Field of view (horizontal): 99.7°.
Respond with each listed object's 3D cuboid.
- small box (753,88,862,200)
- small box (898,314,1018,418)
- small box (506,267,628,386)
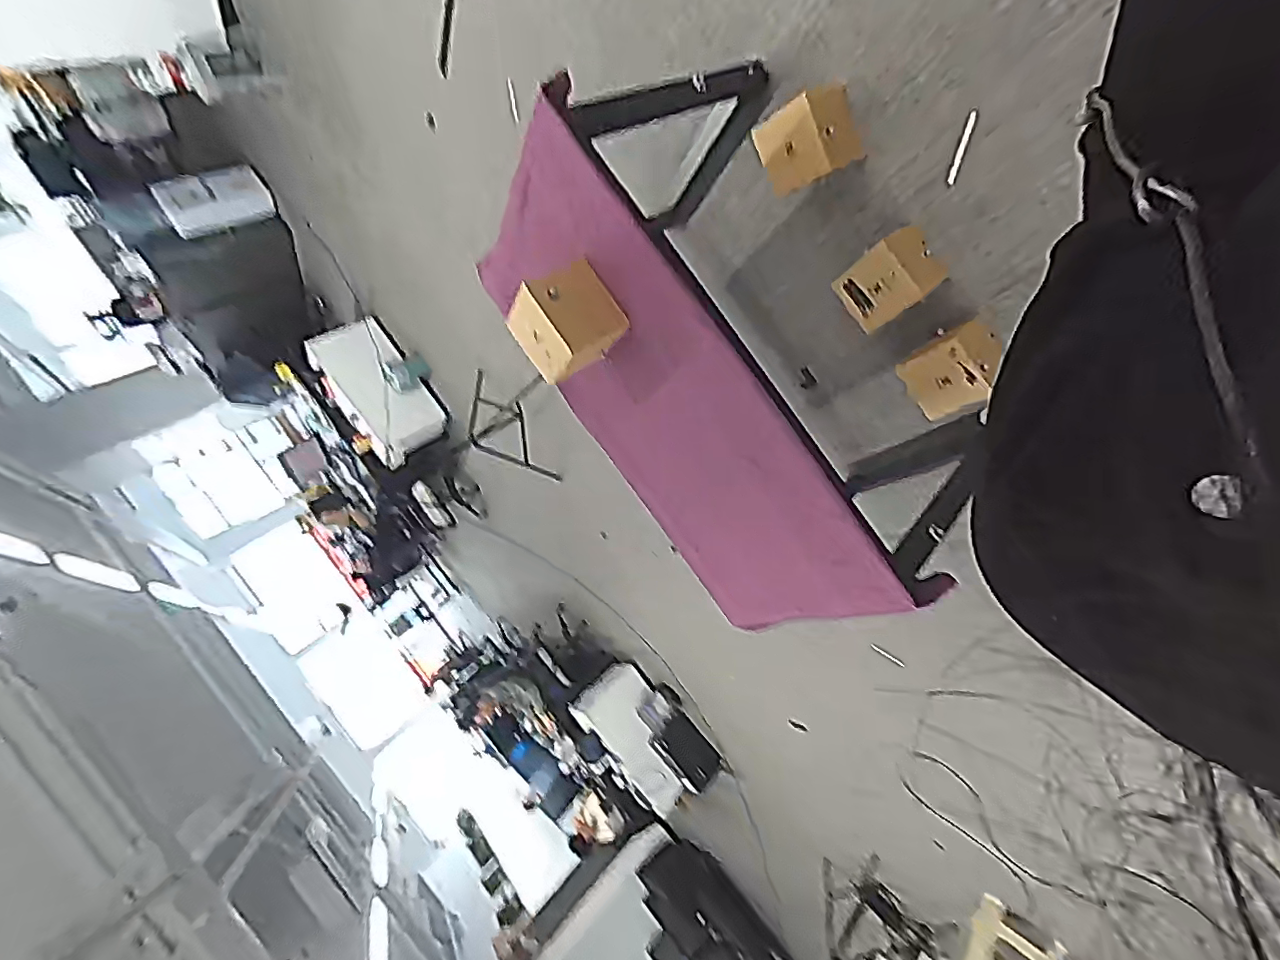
[{"bbox_3d":[0.418,-0.836,1.340,0.168,0.176,0.179,-4,120,54],"label":"small box"},{"bbox_3d":[0.809,-0.288,1.375,0.168,0.176,0.179,54,151,-3],"label":"small box"},{"bbox_3d":[-0.161,-0.343,1.192,0.179,0.176,0.168,54,151,-3],"label":"small box"}]
